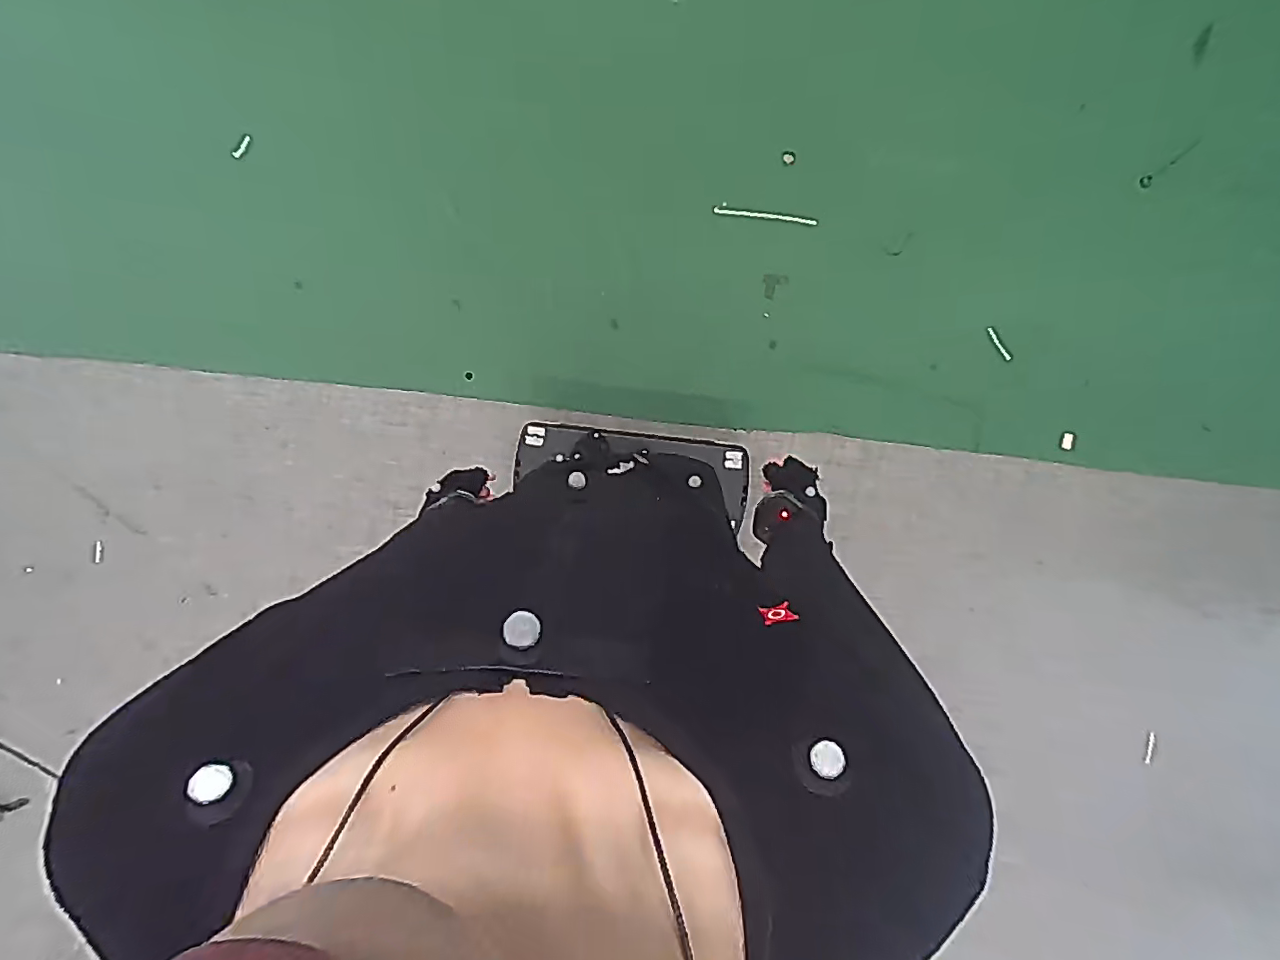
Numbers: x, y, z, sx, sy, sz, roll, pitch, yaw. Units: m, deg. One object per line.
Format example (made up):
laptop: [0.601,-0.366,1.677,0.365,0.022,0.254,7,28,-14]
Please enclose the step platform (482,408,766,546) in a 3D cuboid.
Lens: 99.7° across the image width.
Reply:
step platform: [-0.038,-0.012,1.392,0.684,0.204,0.286,6,94,1]
